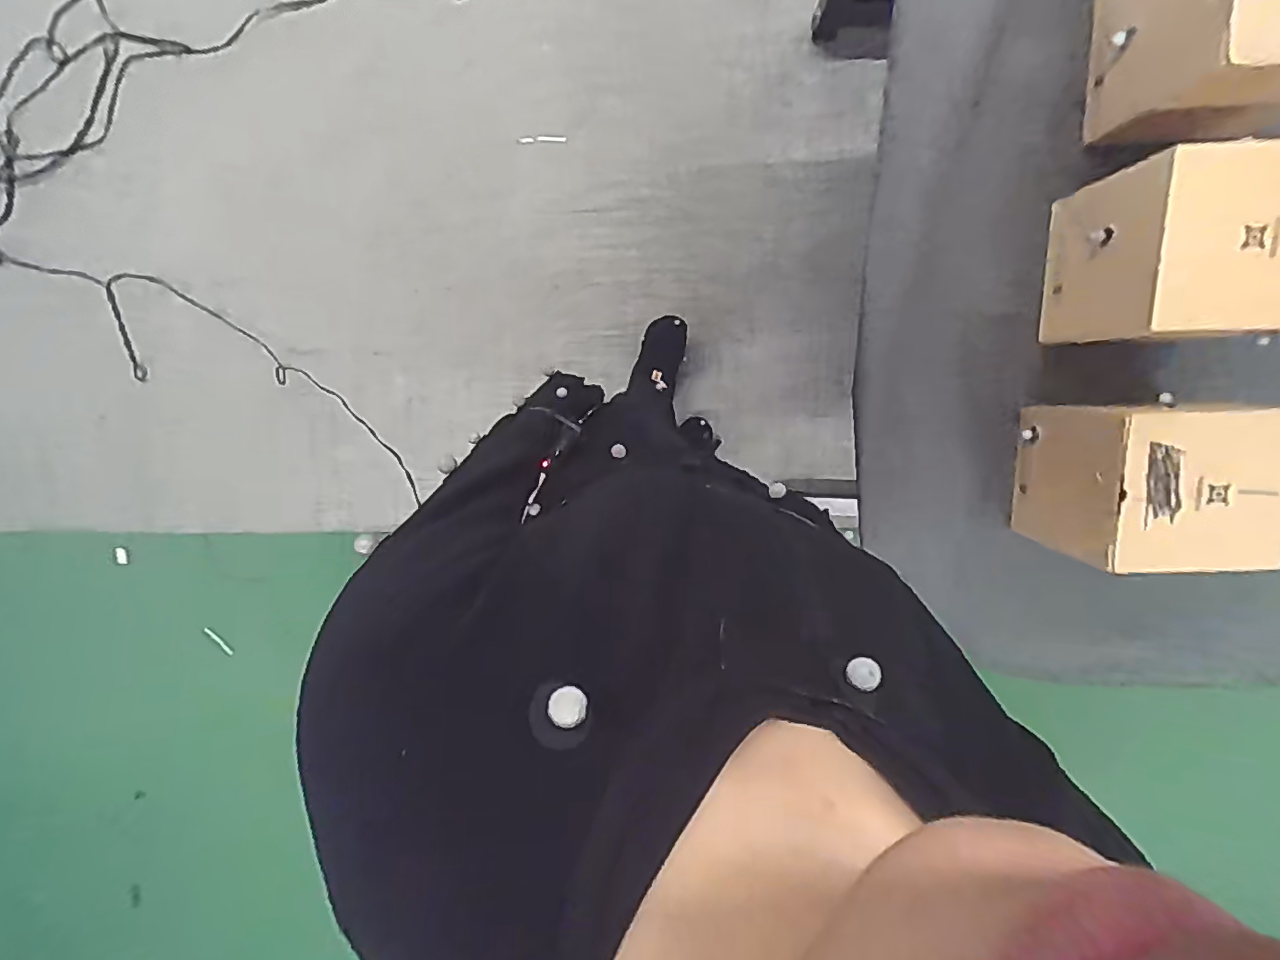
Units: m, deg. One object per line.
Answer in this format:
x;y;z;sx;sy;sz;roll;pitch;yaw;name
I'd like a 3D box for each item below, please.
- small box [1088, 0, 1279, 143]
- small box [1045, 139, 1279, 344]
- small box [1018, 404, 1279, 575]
0.597;-0.453;0.525;0.179;0.176;0.168;-2;100;3;small box
0.574;-0.235;0.570;0.179;0.176;0.168;-1;100;3;small box
0.570;0.002;0.612;0.179;0.176;0.168;-1;100;3;small box
